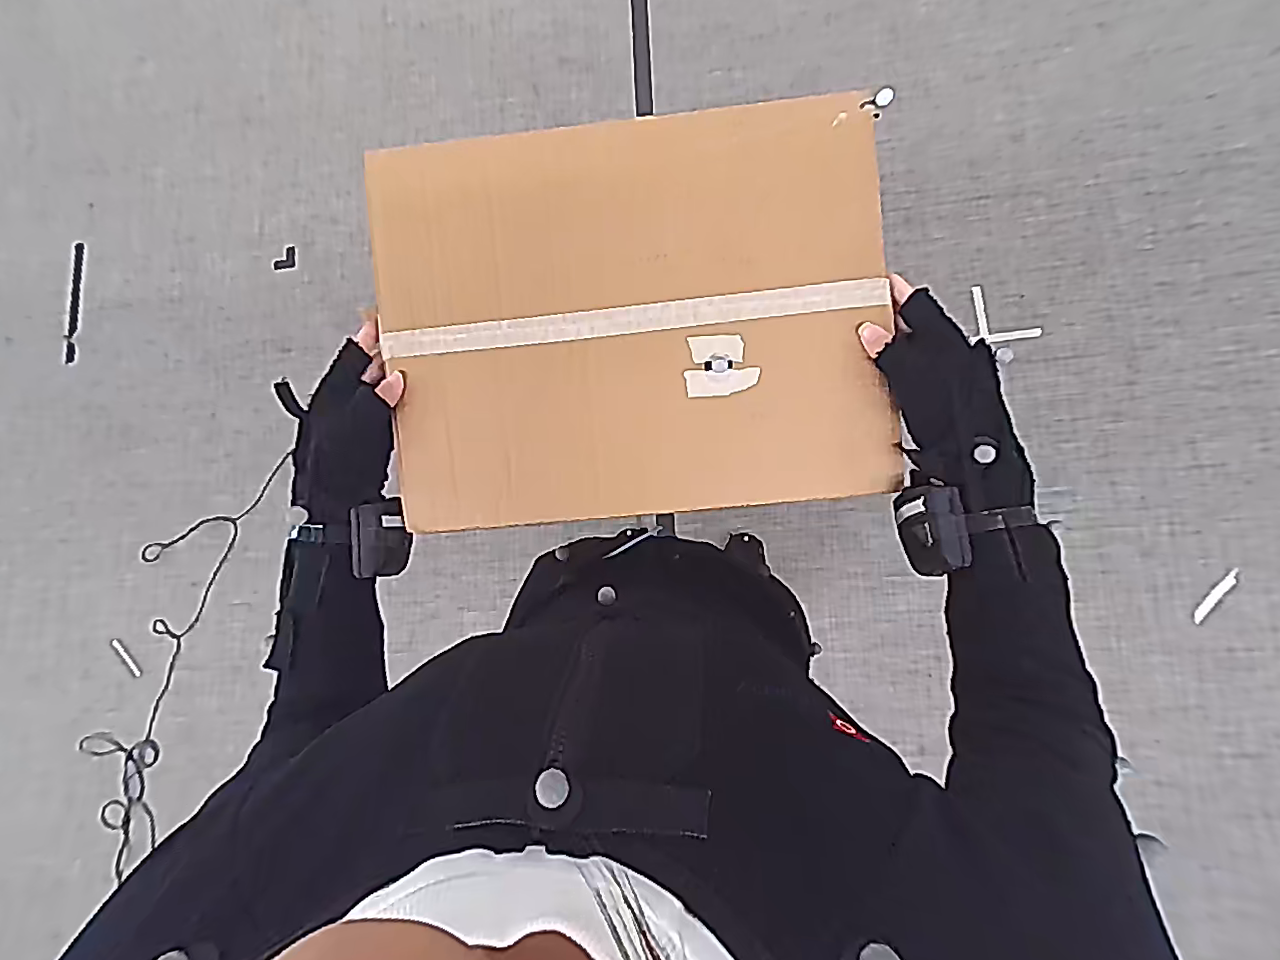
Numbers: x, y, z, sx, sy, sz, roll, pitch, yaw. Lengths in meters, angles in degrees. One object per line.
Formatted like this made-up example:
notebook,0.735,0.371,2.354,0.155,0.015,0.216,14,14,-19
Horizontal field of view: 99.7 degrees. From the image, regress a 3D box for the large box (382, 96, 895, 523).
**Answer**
large box,0.001,-0.141,0.594,0.408,0.320,0.320,-6,93,2
